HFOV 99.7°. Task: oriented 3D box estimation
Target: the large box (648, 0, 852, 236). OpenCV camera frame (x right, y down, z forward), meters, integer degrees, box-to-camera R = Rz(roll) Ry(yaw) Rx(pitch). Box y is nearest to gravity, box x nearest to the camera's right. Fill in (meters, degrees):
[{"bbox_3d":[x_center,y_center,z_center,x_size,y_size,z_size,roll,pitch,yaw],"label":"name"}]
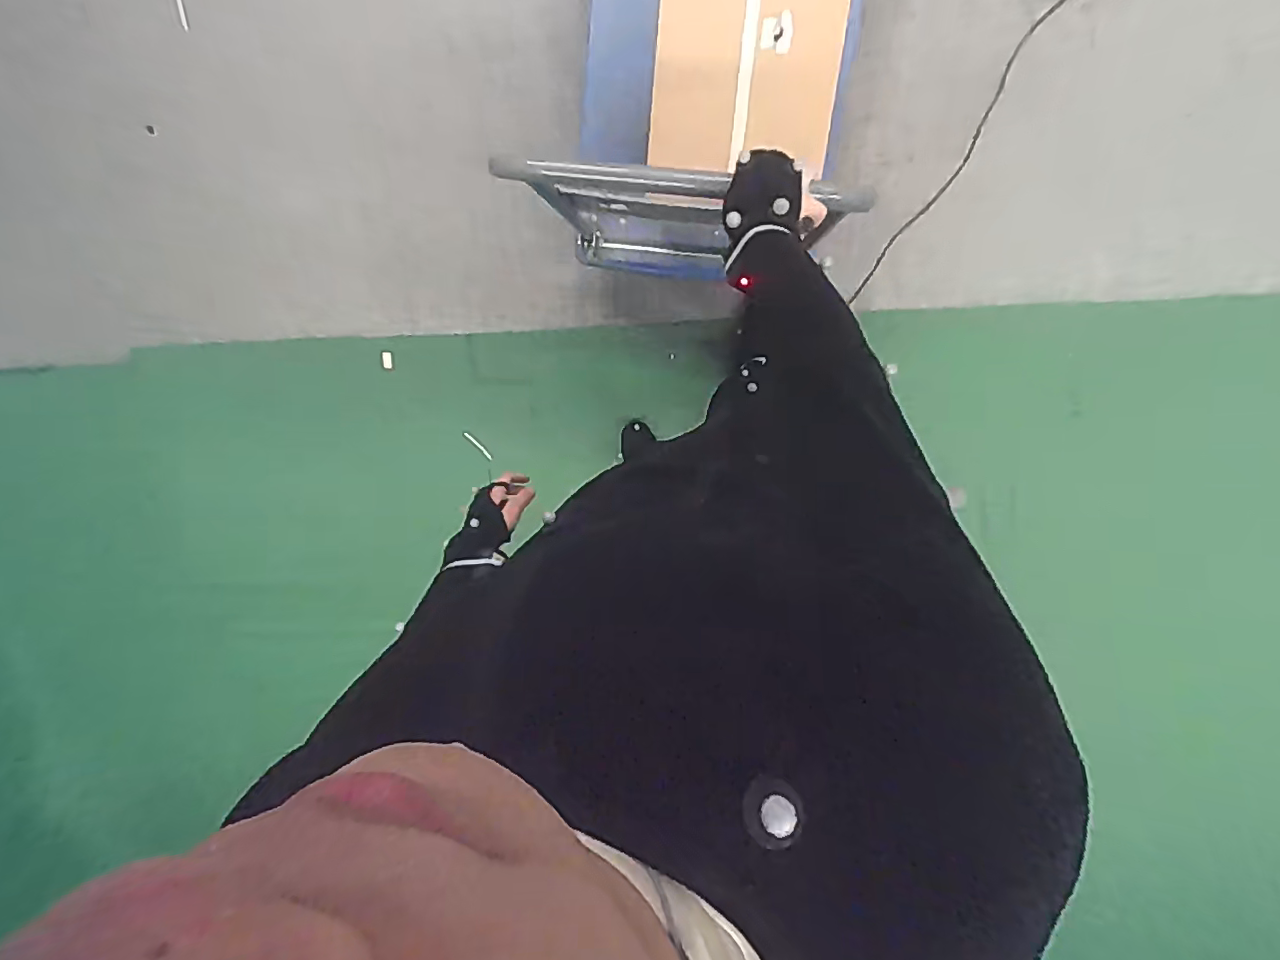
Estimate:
[{"bbox_3d":[0.203,-0.725,1.065,0.320,0.320,0.408,7,107,5],"label":"large box"}]
